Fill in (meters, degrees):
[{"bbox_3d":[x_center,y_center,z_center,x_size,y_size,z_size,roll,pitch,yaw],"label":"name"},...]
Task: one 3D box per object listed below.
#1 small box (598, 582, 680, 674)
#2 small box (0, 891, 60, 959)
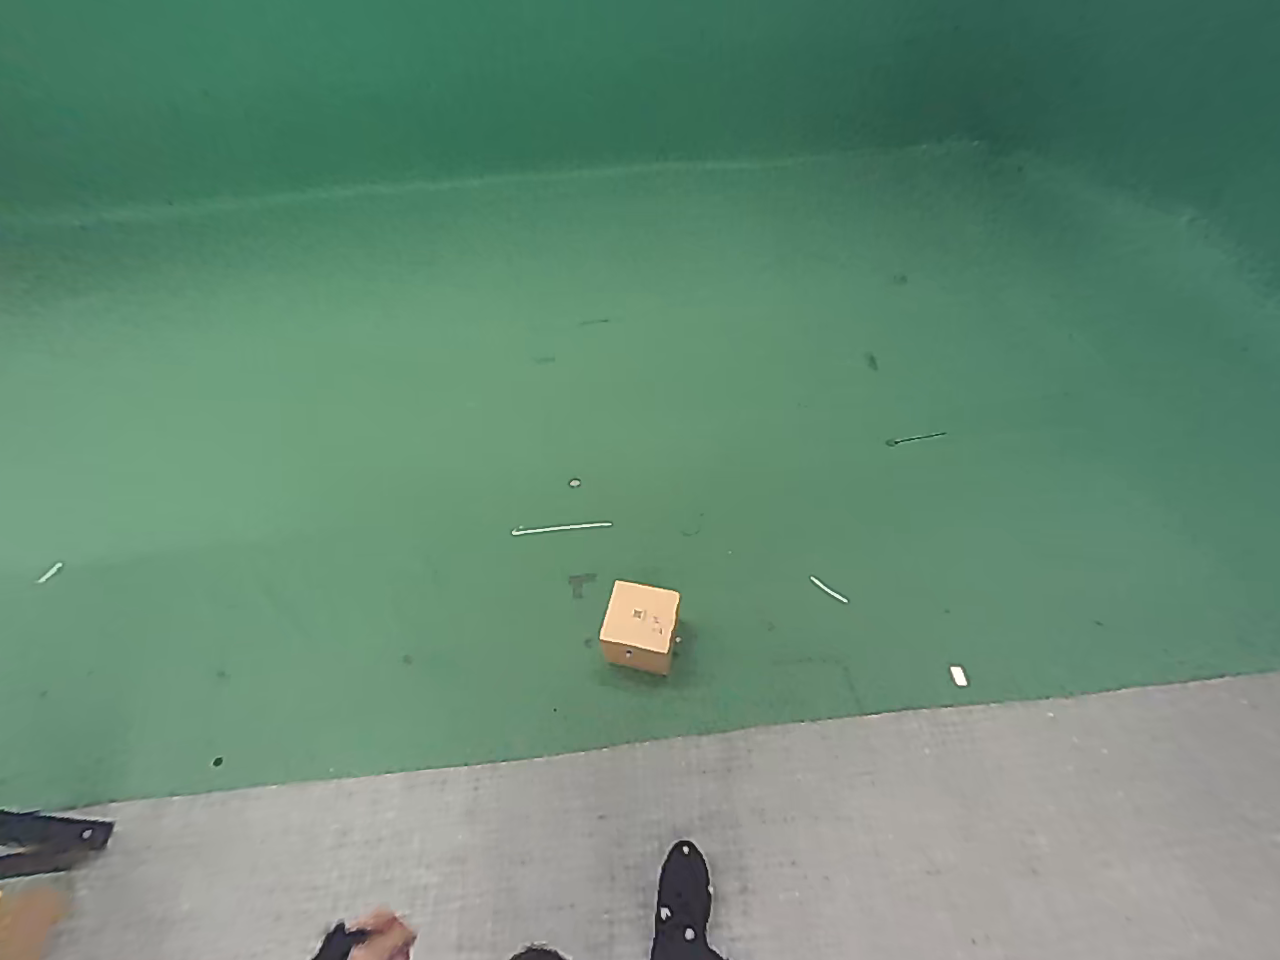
[{"bbox_3d":[0.003,0.390,1.414,0.179,0.176,0.168,10,54,9],"label":"small box"},{"bbox_3d":[-1.336,0.925,1.069,0.168,0.176,0.179,-1,52,1],"label":"small box"}]
